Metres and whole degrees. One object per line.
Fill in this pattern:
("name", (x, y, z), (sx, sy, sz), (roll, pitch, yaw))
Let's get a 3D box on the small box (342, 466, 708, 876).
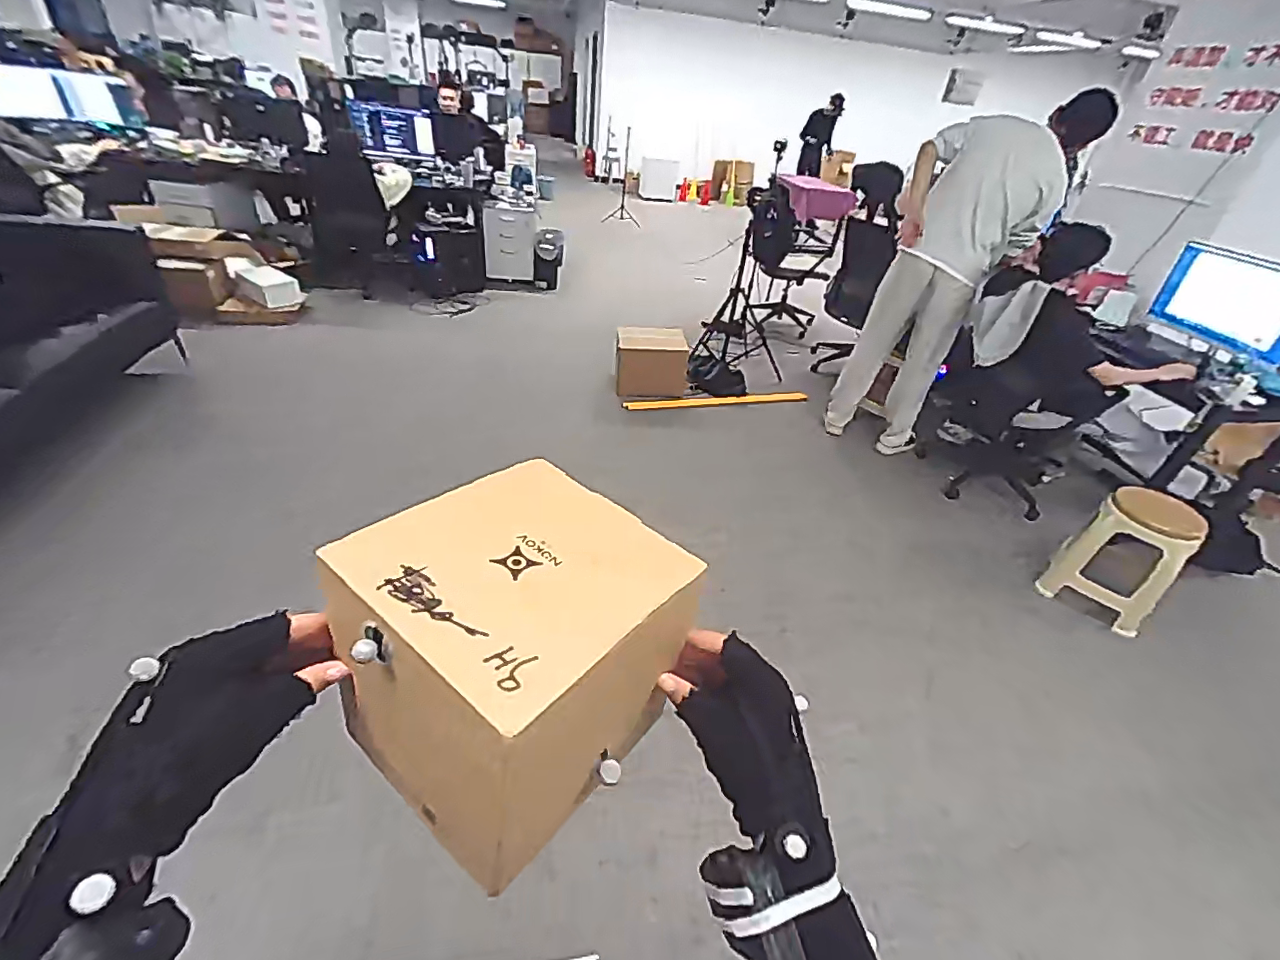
("small box", (-0.081, 0.118, 0.386), (0.168, 0.176, 0.179), (30, 35, 27))
